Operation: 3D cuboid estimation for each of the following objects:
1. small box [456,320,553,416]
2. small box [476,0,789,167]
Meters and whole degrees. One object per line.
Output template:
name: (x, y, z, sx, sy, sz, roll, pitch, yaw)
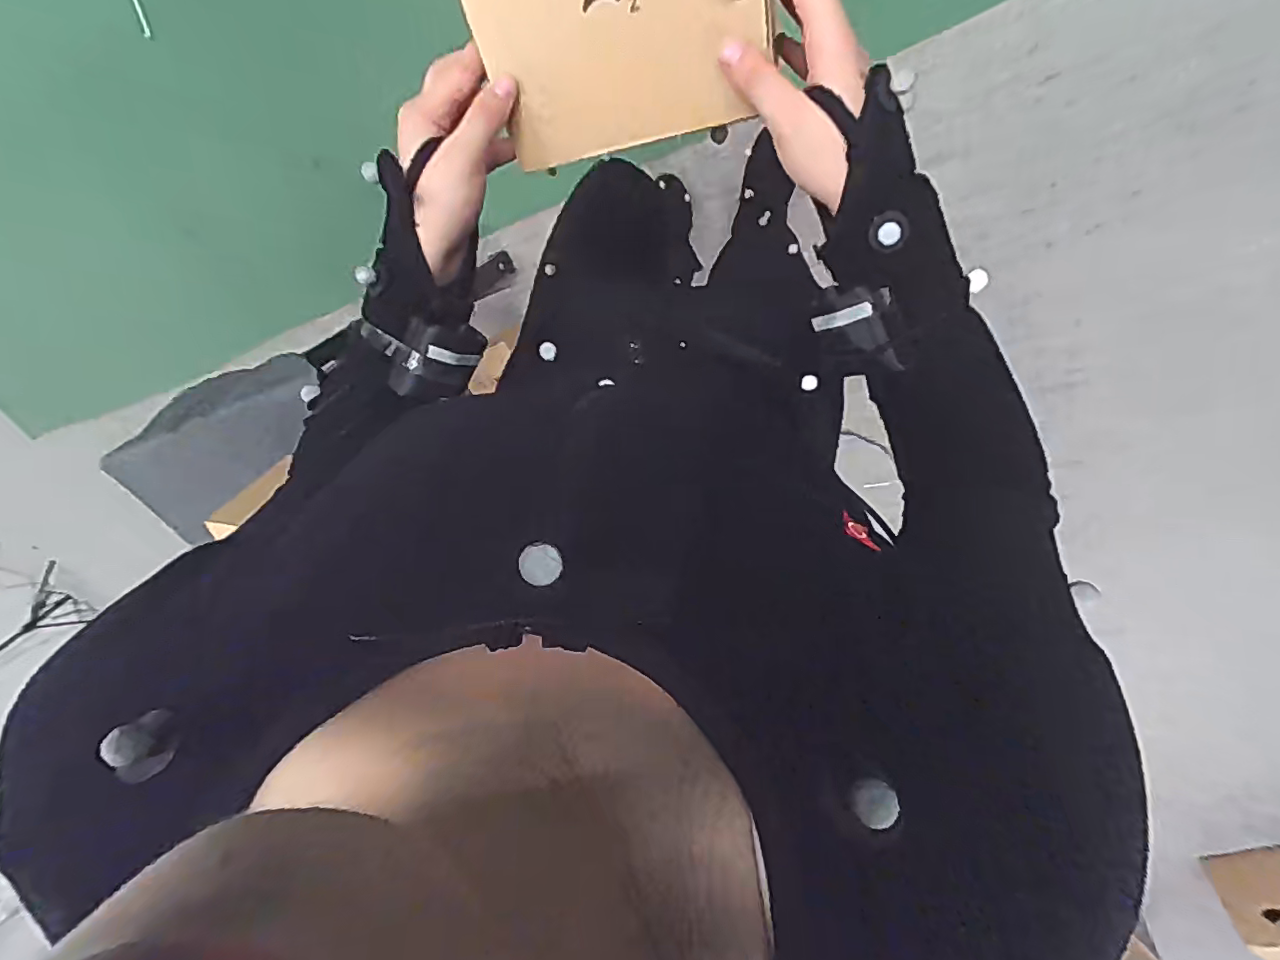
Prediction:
small box: (-0.354, -0.306, 1.463, 0.179, 0.176, 0.168, -18, 120, 25)
small box: (0.003, -0.332, 0.353, 0.179, 0.176, 0.168, -4, 132, 17)
